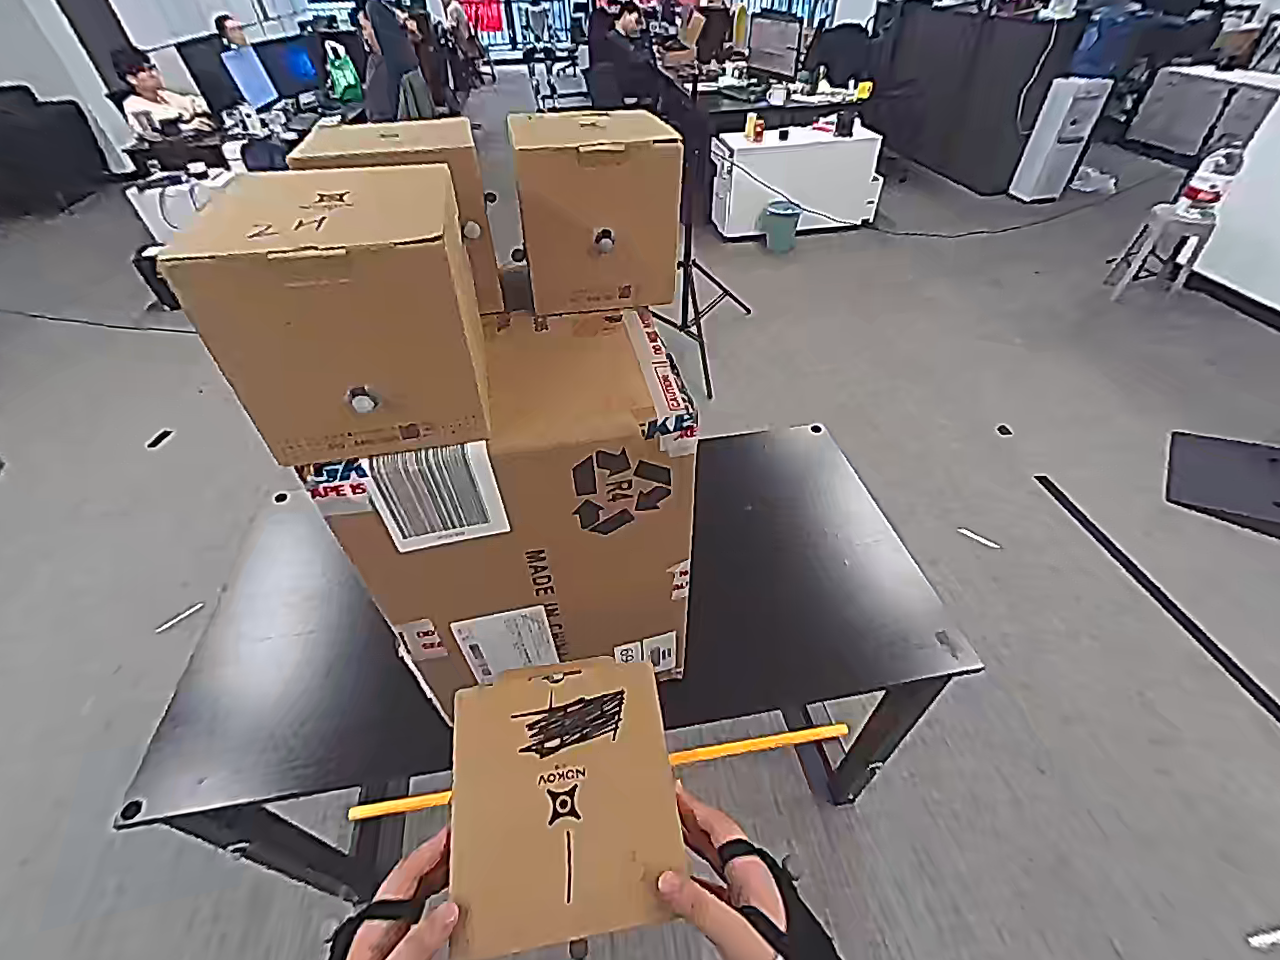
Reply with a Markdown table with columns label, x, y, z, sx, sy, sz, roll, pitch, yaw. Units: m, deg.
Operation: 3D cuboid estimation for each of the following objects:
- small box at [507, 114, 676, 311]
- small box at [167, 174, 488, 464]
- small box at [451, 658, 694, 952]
| label | x | y | z | sx | sy | sz | roll | pitch | yaw |
| --- | --- | --- | --- | --- | --- | --- | --- | --- | --- |
| small box | -0.058 | -0.309 | 0.633 | 0.168 | 0.176 | 0.179 | -8 | 44 | -9 |
| small box | -0.226 | -0.137 | 0.452 | 0.168 | 0.176 | 0.179 | -9 | 45 | -10 |
| small box | -0.058 | 0.280 | 0.473 | 0.168 | 0.176 | 0.179 | -7 | 53 | -7 |
